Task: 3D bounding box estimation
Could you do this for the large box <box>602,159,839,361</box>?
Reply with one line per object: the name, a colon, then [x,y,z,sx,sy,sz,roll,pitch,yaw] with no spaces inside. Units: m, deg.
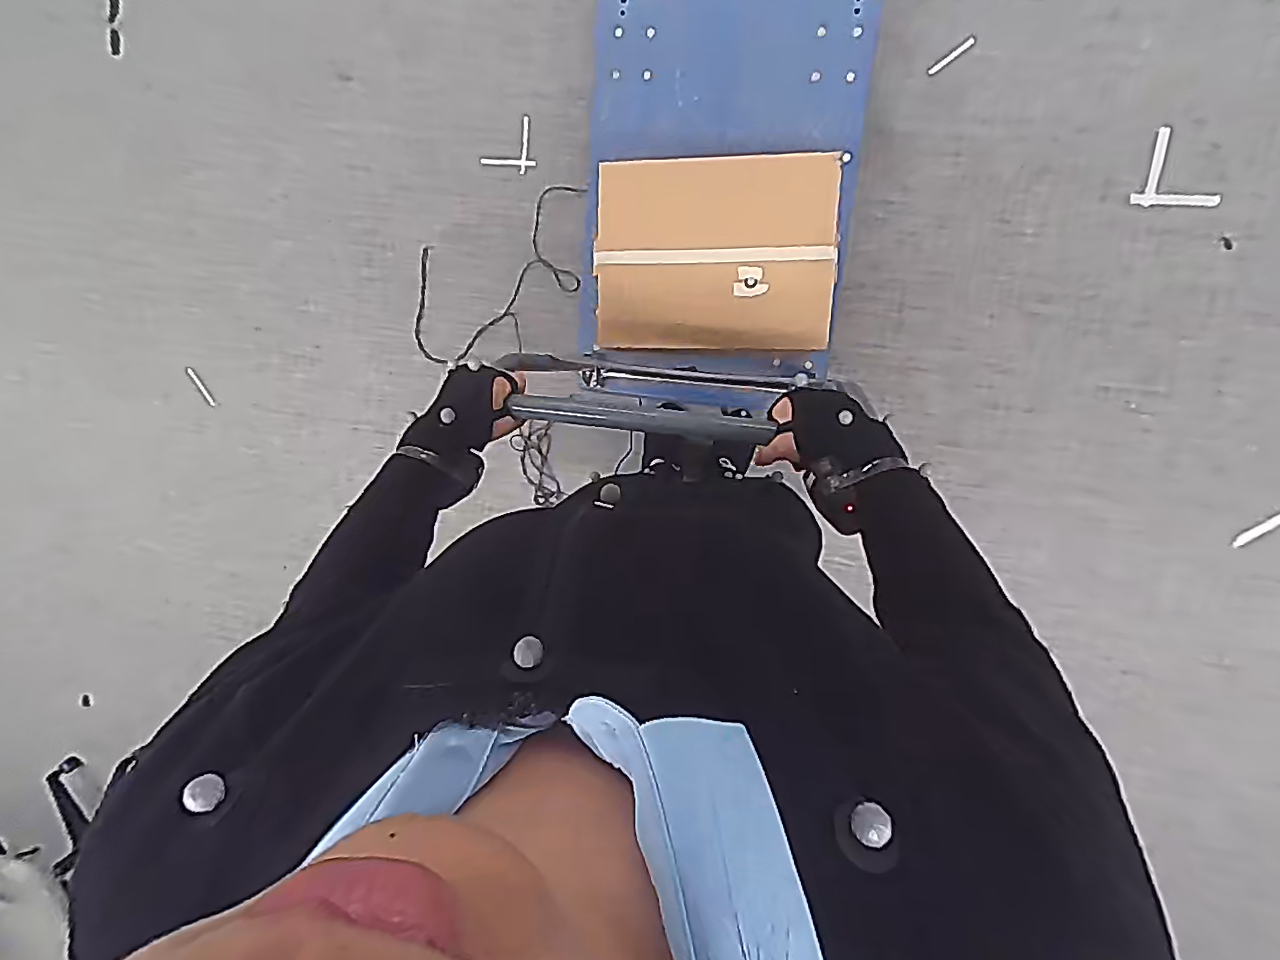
large box: [0.150,-0.405,1.082,0.408,0.320,0.320,2,101,8]
